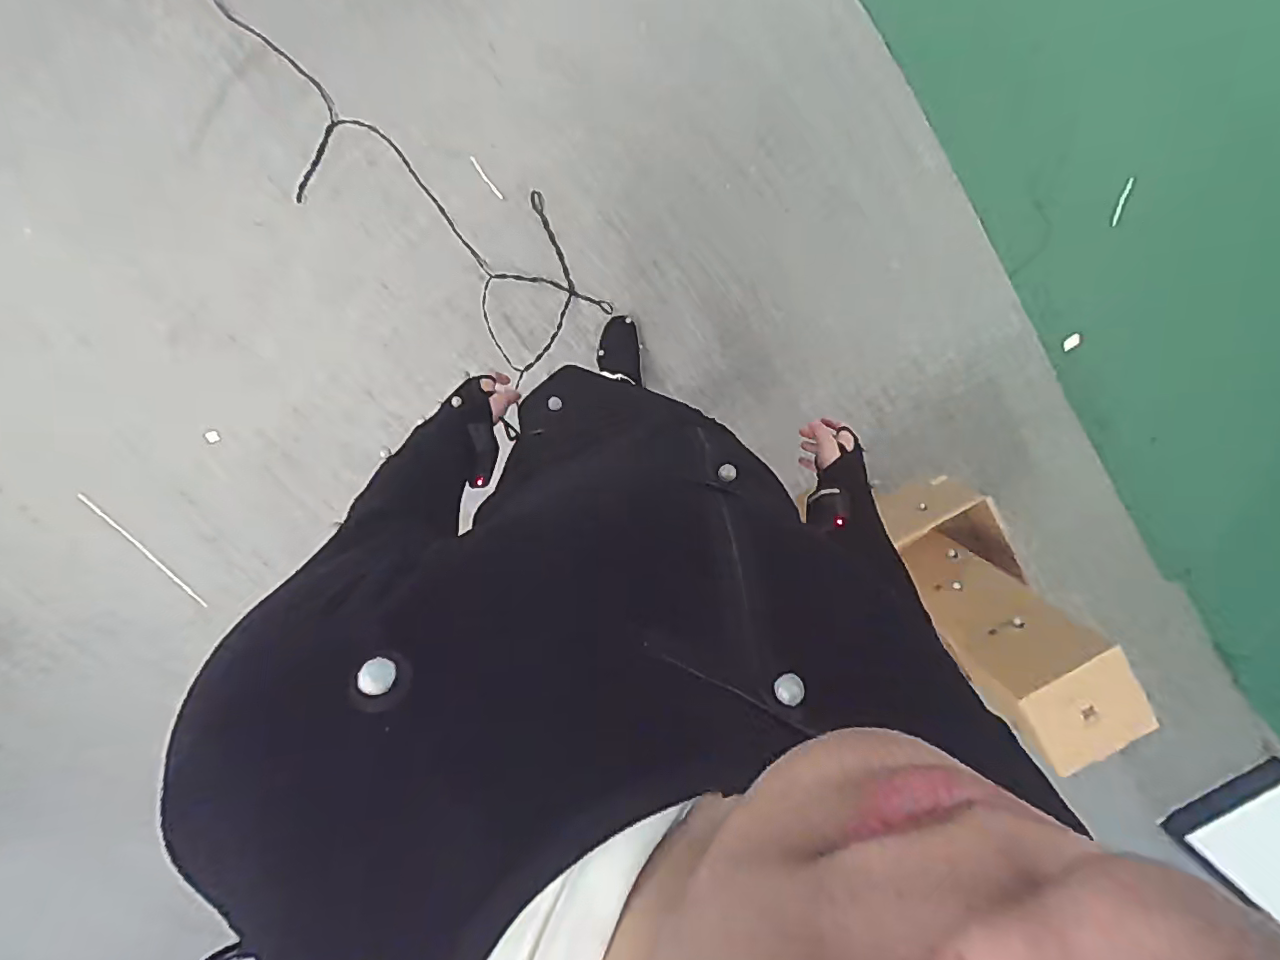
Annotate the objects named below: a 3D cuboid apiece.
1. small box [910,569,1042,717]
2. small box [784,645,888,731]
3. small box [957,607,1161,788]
[{"bbox_3d":[0.663,0.304,1.037,0.168,0.176,0.179,-34,102,6],"label":"small box"},{"bbox_3d":[0.412,0.455,1.070,0.168,0.176,0.179,-34,102,7],"label":"small box"},{"bbox_3d":[0.666,0.342,0.878,0.168,0.176,0.179,-33,103,6],"label":"small box"}]
